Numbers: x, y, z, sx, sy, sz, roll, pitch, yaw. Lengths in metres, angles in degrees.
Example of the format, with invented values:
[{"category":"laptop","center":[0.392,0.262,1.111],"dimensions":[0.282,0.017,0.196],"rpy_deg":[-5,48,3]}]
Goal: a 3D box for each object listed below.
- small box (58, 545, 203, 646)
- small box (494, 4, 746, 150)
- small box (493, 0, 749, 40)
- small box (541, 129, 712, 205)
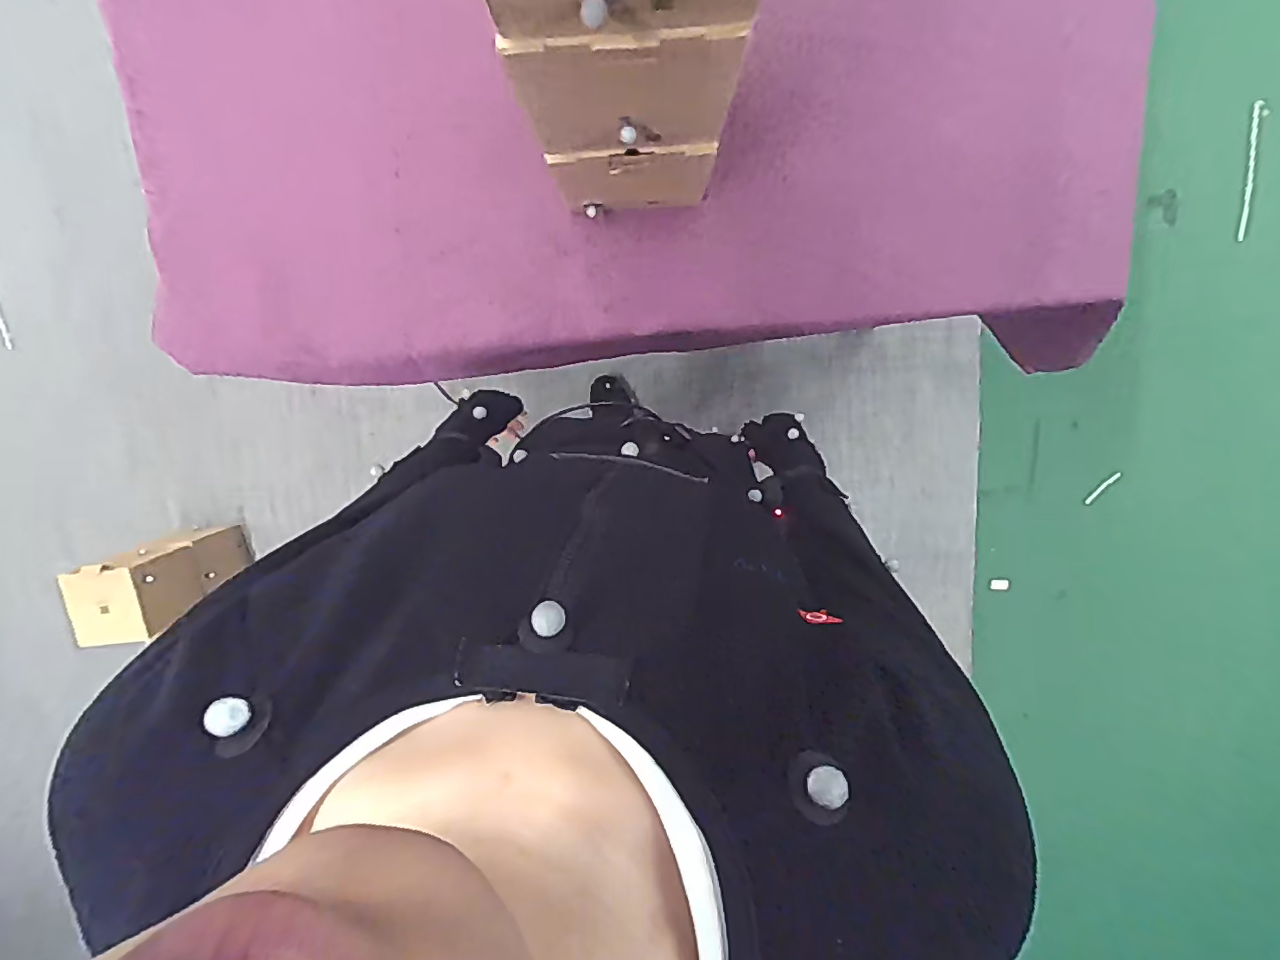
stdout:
[{"category":"small box","center":[-1.192,0.268,1.283],"dimensions":[0.168,0.176,0.179],"rpy_deg":[-7,101,1]},{"category":"small box","center":[-0.017,-0.385,0.414],"dimensions":[0.168,0.176,0.179],"rpy_deg":[-3,101,1]},{"category":"small box","center":[-0.017,-0.358,0.253],"dimensions":[0.168,0.176,0.179],"rpy_deg":[-4,101,1]},{"category":"small box","center":[-0.015,-0.409,0.577],"dimensions":[0.168,0.176,0.179],"rpy_deg":[-3,100,1]}]
